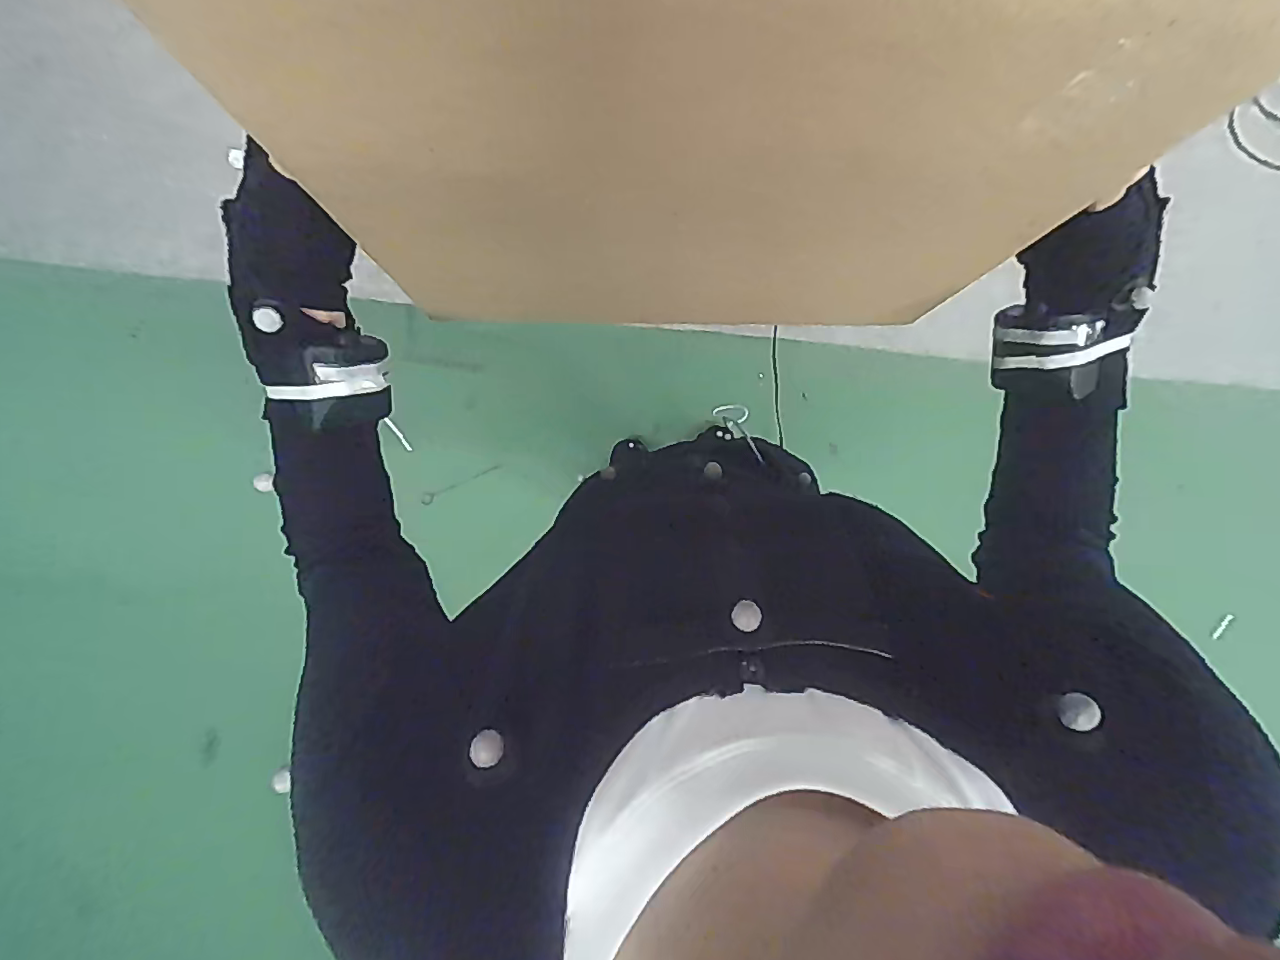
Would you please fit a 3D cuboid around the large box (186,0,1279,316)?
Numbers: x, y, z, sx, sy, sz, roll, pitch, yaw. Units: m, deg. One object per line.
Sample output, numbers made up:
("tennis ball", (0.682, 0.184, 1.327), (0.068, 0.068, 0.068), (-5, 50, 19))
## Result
("large box", (0.035, -0.299, 0.312), (0.408, 0.320, 0.320), (0, 86, -3))
